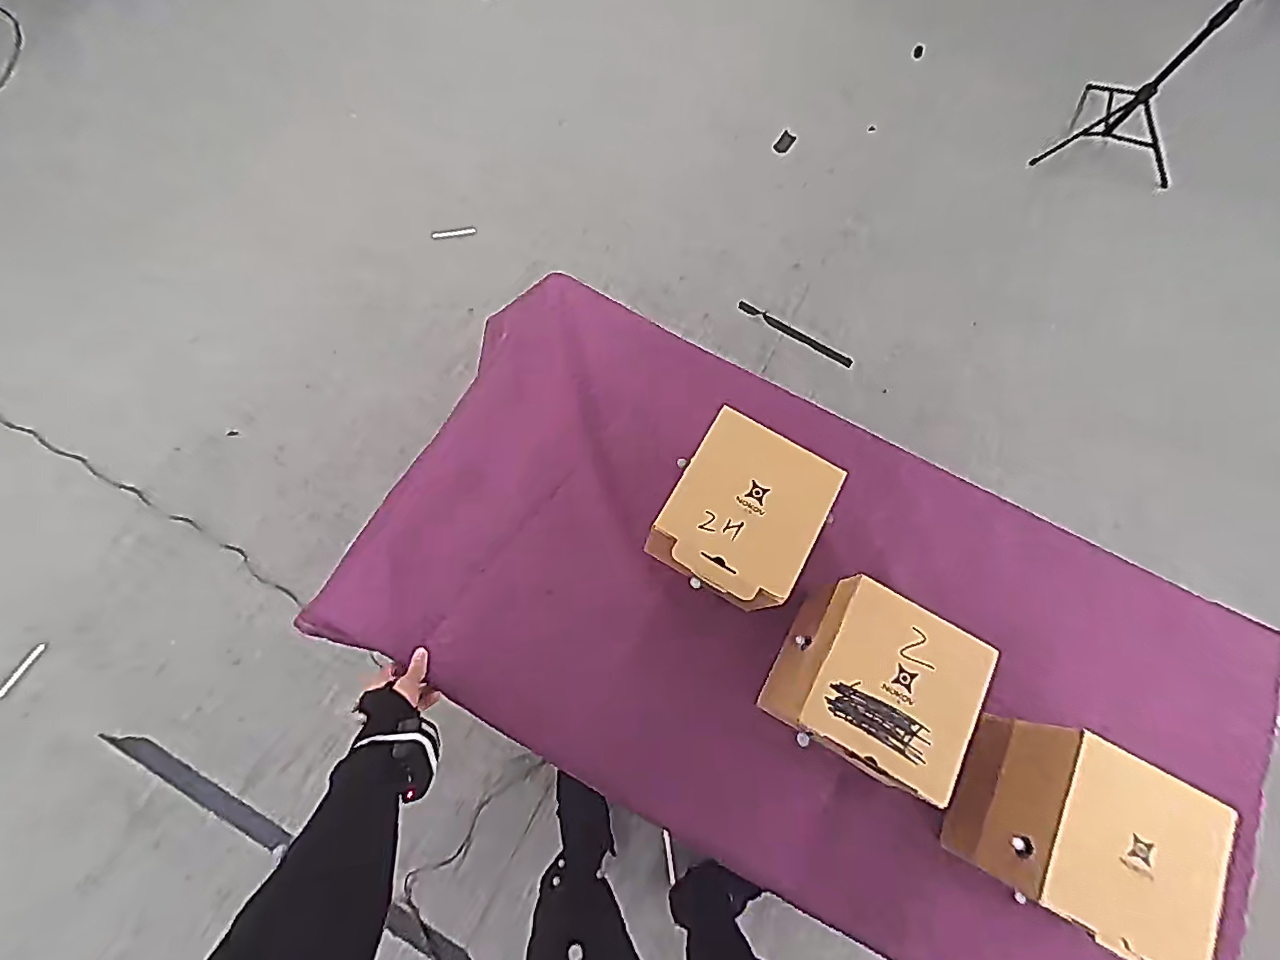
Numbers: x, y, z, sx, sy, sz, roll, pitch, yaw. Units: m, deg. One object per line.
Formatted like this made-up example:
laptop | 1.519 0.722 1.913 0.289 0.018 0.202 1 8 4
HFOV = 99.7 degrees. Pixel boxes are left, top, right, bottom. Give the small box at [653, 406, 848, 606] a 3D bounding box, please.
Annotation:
small box | 0.126 0.043 0.690 0.168 0.176 0.179 31 75 6

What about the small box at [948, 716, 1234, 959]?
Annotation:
small box | 0.489 0.392 0.610 0.168 0.176 0.179 28 74 5
